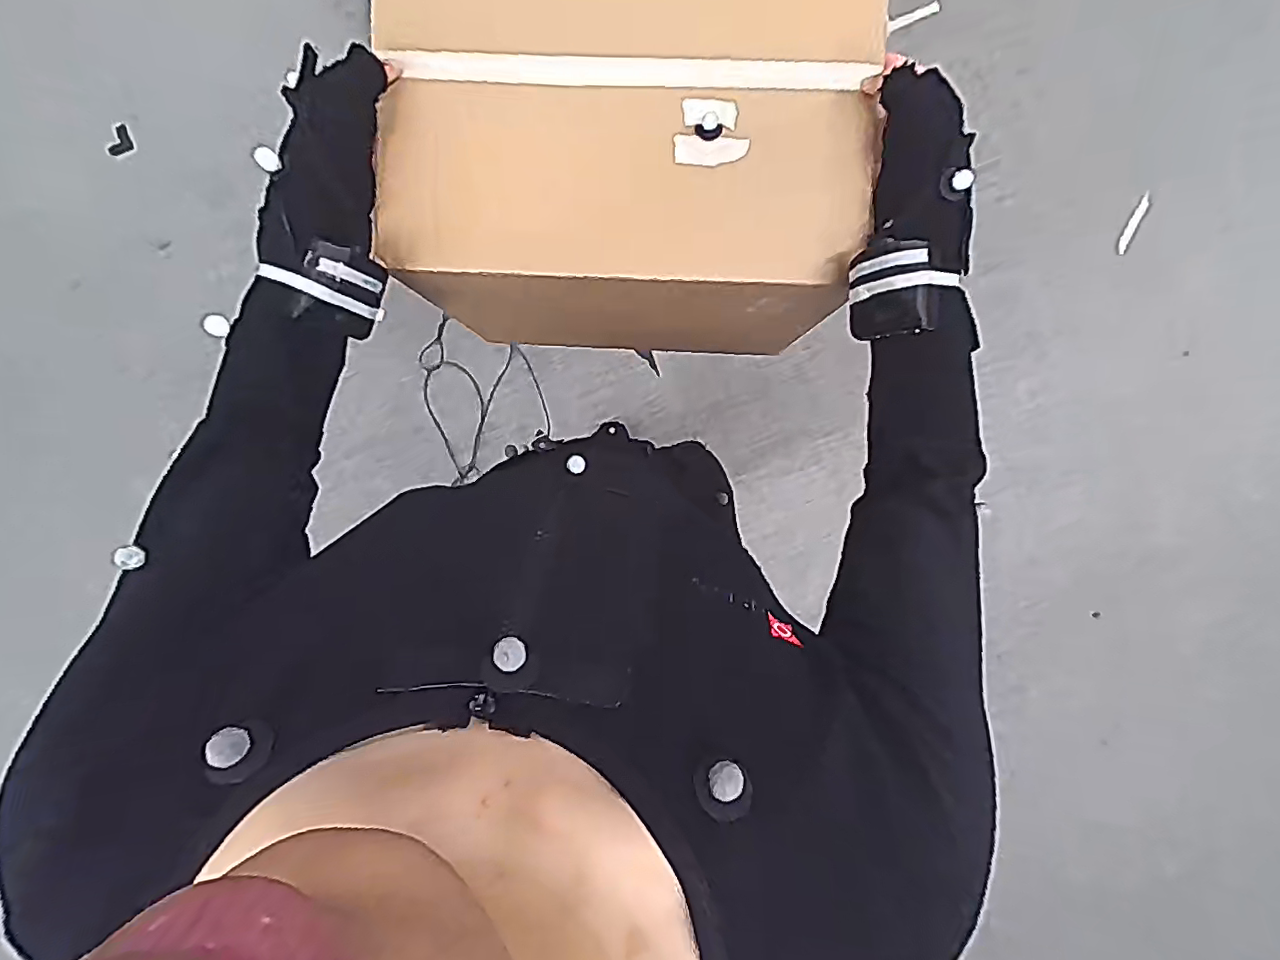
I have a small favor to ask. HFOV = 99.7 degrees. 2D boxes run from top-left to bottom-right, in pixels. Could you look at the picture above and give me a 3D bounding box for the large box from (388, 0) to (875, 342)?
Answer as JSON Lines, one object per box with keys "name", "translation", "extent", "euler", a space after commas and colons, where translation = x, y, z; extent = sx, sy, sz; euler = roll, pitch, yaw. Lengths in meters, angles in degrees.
{"name": "large box", "translation": [-0.010, -0.338, 0.592], "extent": [0.408, 0.320, 0.320], "euler": [2, 93, 0]}
